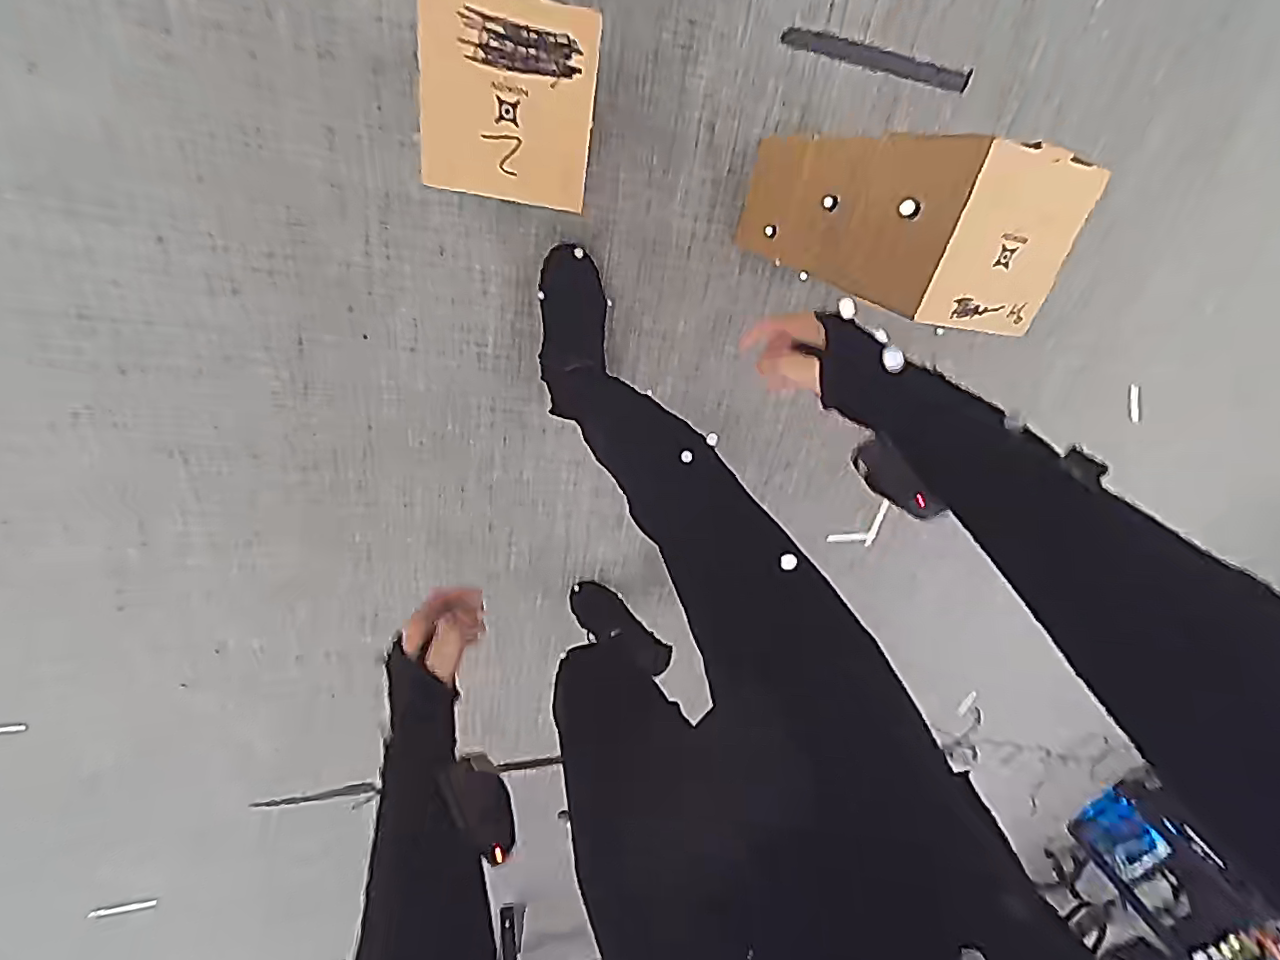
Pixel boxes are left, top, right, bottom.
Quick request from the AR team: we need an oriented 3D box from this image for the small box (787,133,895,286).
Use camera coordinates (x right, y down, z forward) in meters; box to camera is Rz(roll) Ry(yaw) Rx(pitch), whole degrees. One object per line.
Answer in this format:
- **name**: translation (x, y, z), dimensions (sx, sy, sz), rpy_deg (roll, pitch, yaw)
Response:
- **small box**: translation (0.332, -0.373, 0.766), dimensions (0.168, 0.176, 0.179), rpy_deg (2, 121, -19)

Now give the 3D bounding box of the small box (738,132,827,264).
- **small box**: translation (0.284, -0.459, 0.898), dimensions (0.168, 0.176, 0.179), rpy_deg (3, 122, -19)

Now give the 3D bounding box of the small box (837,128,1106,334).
- **small box**: translation (0.361, -0.287, 0.627), dimensions (0.168, 0.176, 0.179), rpy_deg (2, 121, -19)
